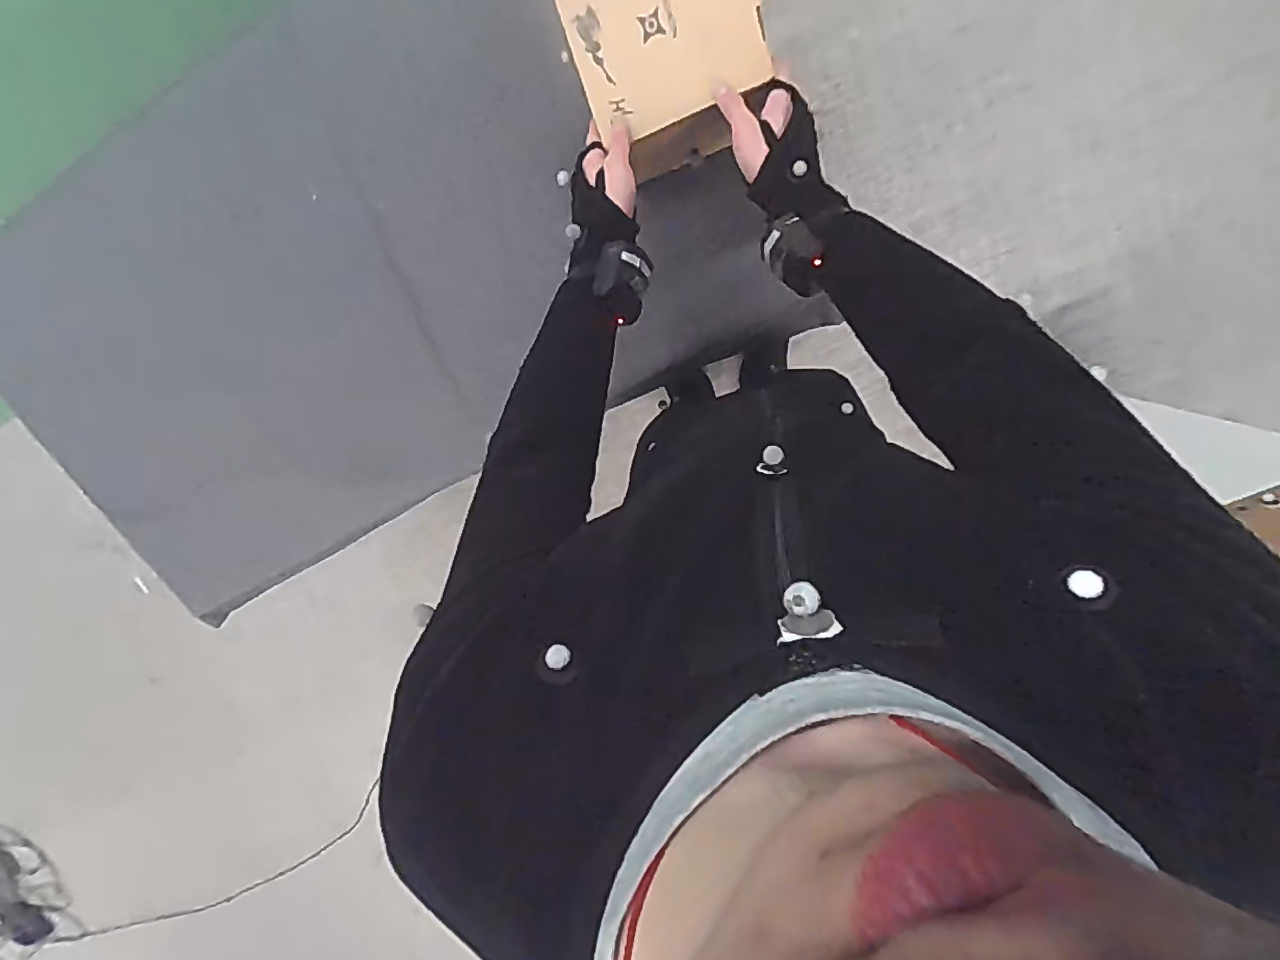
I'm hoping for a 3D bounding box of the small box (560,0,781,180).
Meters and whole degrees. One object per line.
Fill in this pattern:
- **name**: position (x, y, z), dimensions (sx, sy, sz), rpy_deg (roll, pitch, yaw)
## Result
- **small box**: position (0.029, -0.443, 0.563), dimensions (0.179, 0.176, 0.168), rpy_deg (-16, 105, 10)
